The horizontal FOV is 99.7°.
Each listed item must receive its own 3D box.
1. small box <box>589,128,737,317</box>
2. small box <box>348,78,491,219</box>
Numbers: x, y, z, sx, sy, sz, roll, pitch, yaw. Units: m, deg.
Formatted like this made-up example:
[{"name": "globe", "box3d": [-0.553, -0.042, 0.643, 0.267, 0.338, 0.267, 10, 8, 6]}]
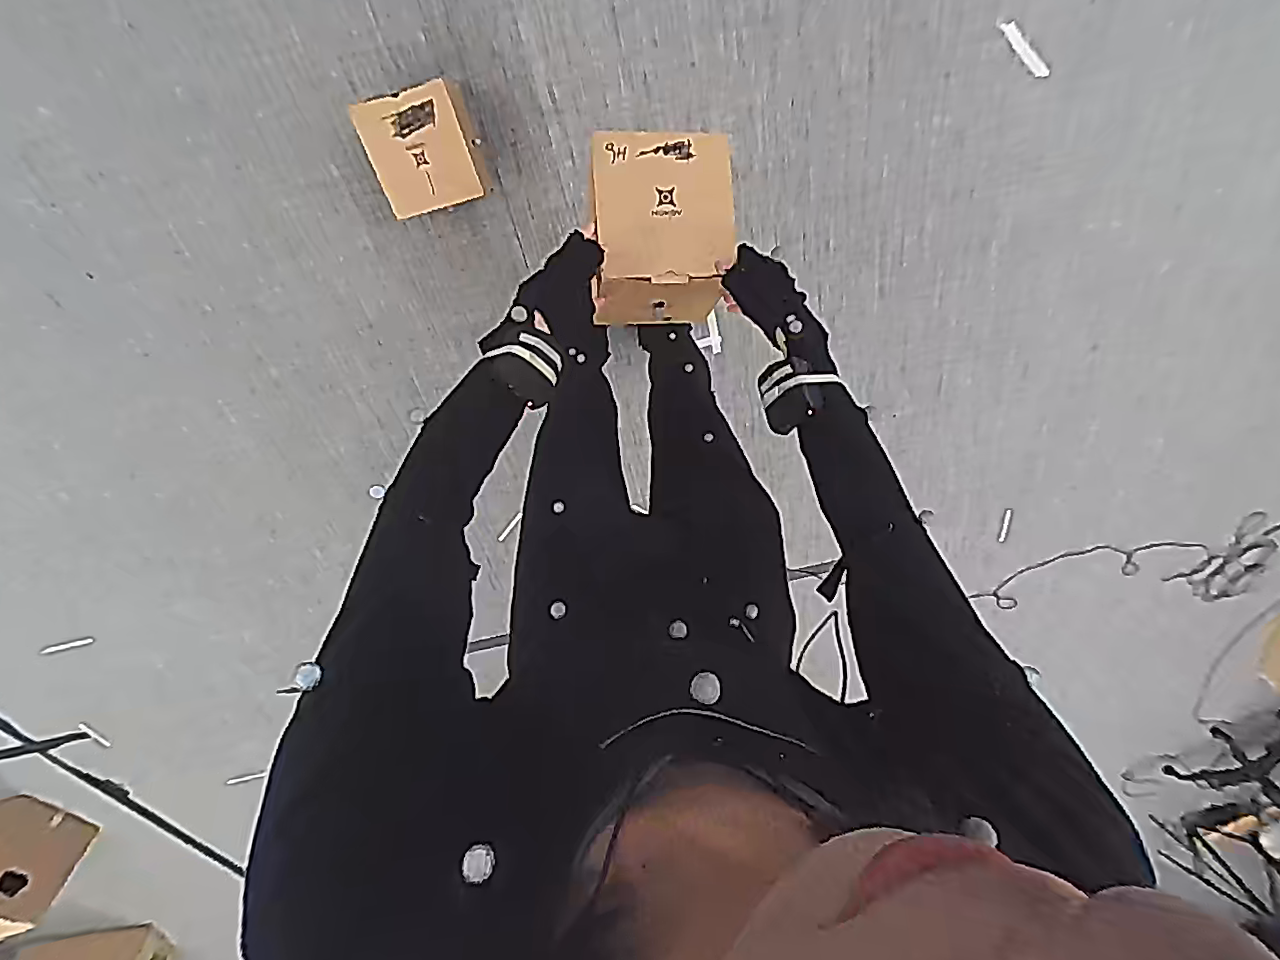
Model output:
[{"name": "small box", "box3d": [0.020, -0.320, 0.708, 0.168, 0.176, 0.179, -4, 89, -8]}, {"name": "small box", "box3d": [-0.381, -0.591, 0.970, 0.168, 0.176, 0.179, -15, 125, 1]}]
